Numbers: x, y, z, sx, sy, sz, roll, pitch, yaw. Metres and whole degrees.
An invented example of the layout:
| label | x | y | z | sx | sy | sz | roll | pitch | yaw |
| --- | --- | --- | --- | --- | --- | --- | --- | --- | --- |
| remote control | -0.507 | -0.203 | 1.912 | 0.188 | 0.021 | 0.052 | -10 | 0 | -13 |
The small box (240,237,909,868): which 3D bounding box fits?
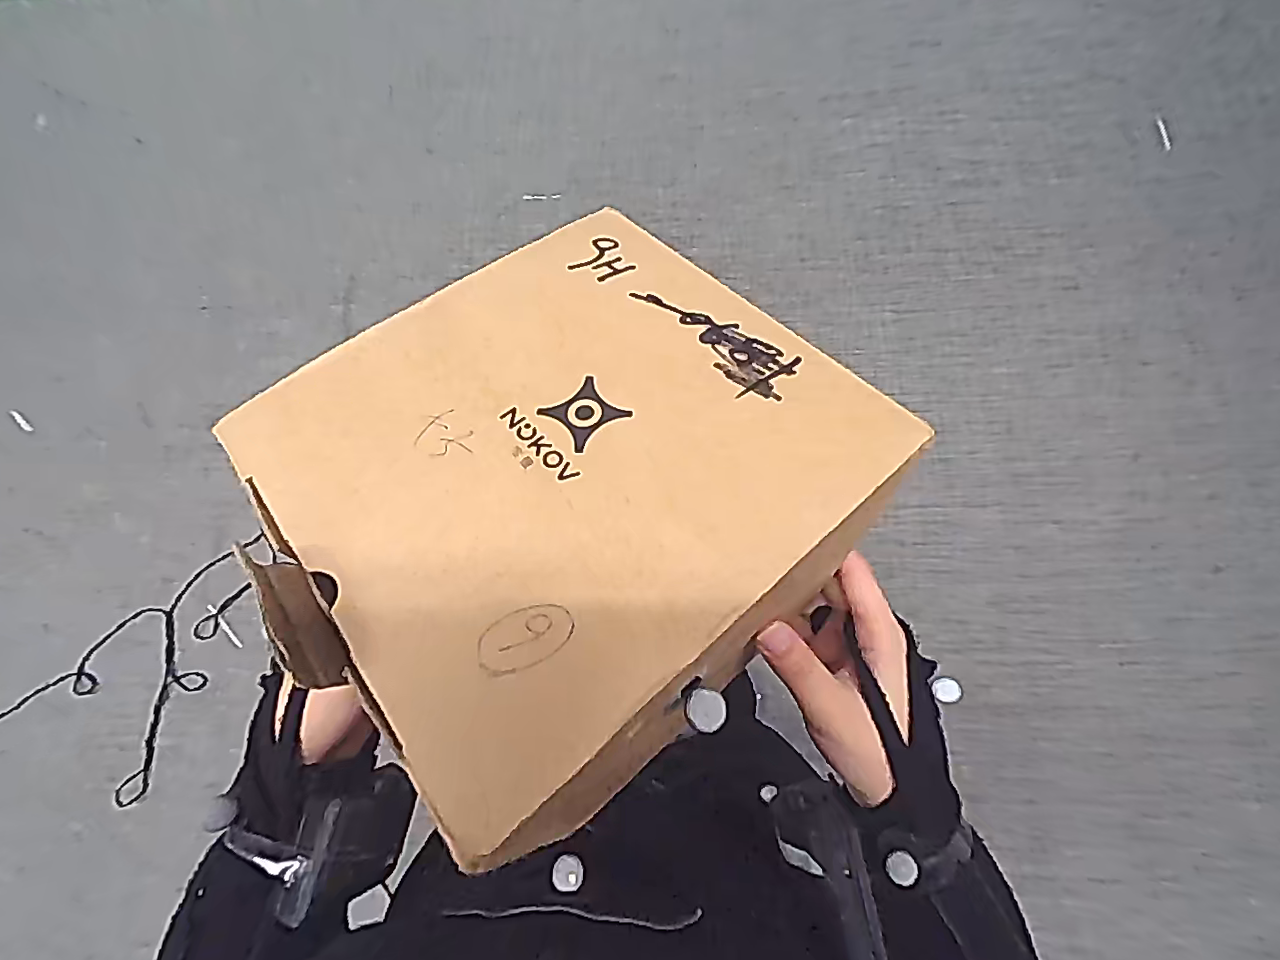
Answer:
| label | x | y | z | sx | sy | sz | roll | pitch | yaw |
| --- | --- | --- | --- | --- | --- | --- | --- | --- | --- |
| small box | -0.022 | 0.033 | 0.252 | 0.179 | 0.176 | 0.168 | -38 | 65 | -17 |
